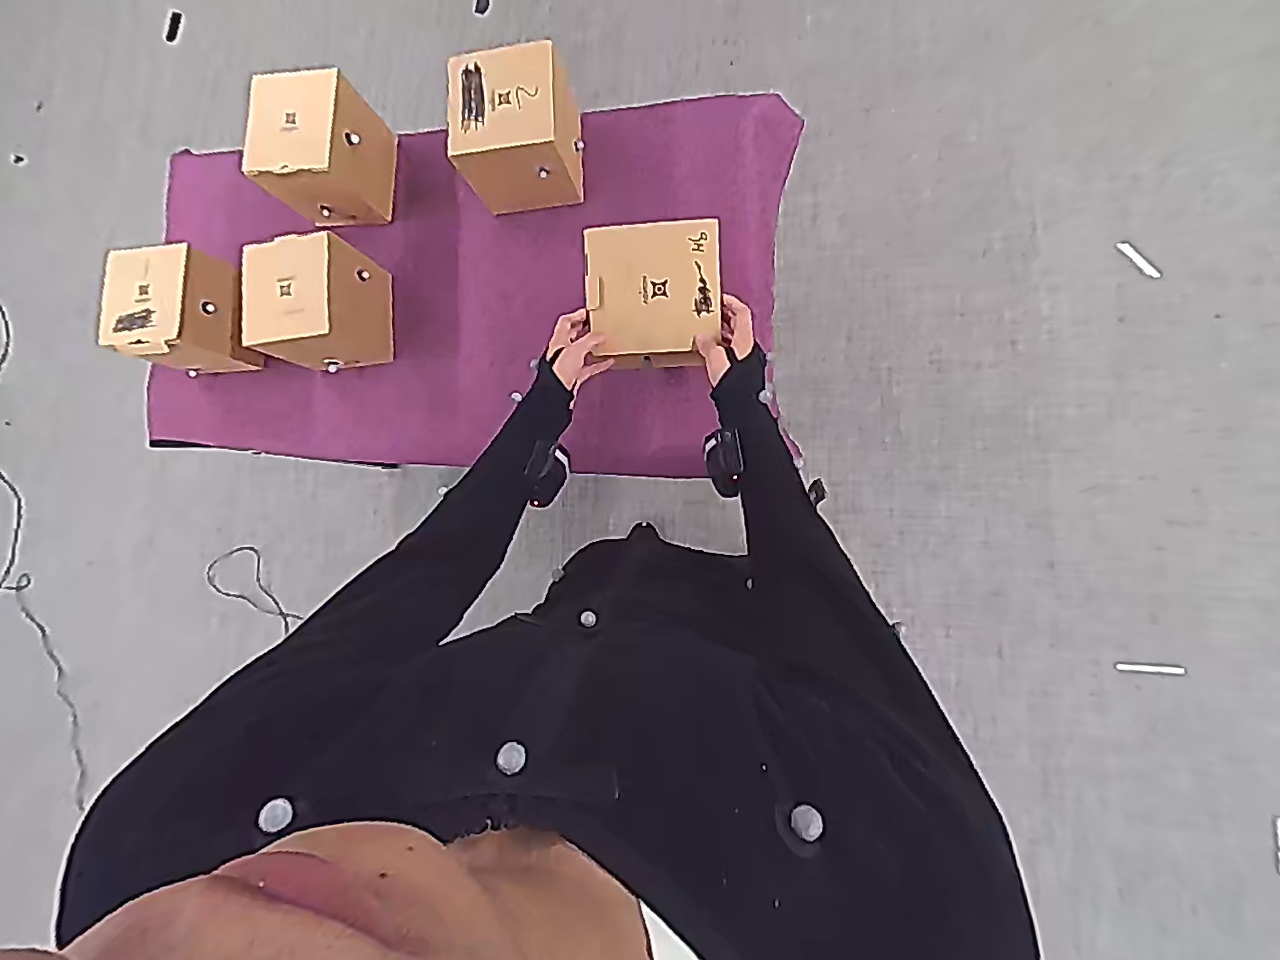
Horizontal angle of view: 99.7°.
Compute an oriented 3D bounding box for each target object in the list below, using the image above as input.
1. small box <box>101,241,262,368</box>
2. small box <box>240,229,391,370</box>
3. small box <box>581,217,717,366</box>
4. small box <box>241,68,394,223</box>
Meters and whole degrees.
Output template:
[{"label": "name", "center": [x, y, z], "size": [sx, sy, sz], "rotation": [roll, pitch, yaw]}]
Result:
[{"label": "small box", "center": [-0.836, -0.313, 1.004], "size": [0.168, 0.176, 0.179], "rotation": [-1, 85, 9]}, {"label": "small box", "center": [-0.566, -0.310, 0.960], "size": [0.168, 0.176, 0.179], "rotation": [-4, 85, 10]}, {"label": "small box", "center": [0.020, -0.257, 0.775], "size": [0.179, 0.176, 0.168], "rotation": [-1, 96, 6]}, {"label": "small box", "center": [-0.569, -0.592, 0.975], "size": [0.168, 0.176, 0.179], "rotation": [3, 87, 9]}]
